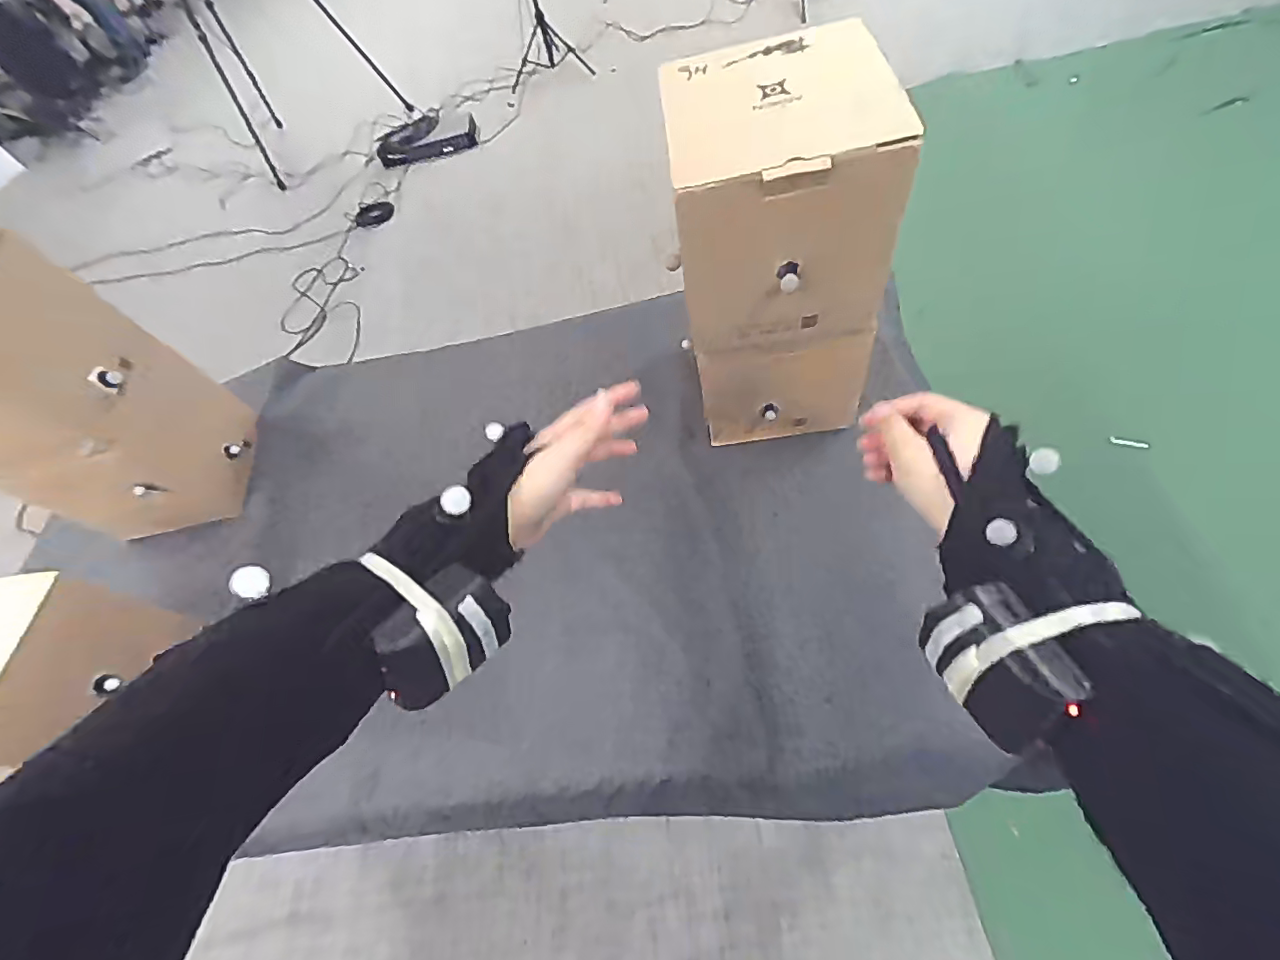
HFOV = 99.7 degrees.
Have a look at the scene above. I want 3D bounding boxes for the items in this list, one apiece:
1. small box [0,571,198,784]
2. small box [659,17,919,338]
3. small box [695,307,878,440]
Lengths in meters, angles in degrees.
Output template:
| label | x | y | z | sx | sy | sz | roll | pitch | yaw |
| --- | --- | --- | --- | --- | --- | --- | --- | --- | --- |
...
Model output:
| label | x | y | z | sx | sy | sz | roll | pitch | yaw |
| --- | --- | --- | --- | --- | --- | --- | --- | --- | --- |
| small box | -0.614 | 0.207 | 0.549 | 0.179 | 0.176 | 0.168 | -8 | 56 | 7 |
| small box | 0.114 | -0.242 | 0.467 | 0.168 | 0.176 | 0.179 | -7 | 61 | 8 |
| small box | 0.146 | -0.168 | 0.610 | 0.168 | 0.176 | 0.179 | -8 | 61 | 8 |
